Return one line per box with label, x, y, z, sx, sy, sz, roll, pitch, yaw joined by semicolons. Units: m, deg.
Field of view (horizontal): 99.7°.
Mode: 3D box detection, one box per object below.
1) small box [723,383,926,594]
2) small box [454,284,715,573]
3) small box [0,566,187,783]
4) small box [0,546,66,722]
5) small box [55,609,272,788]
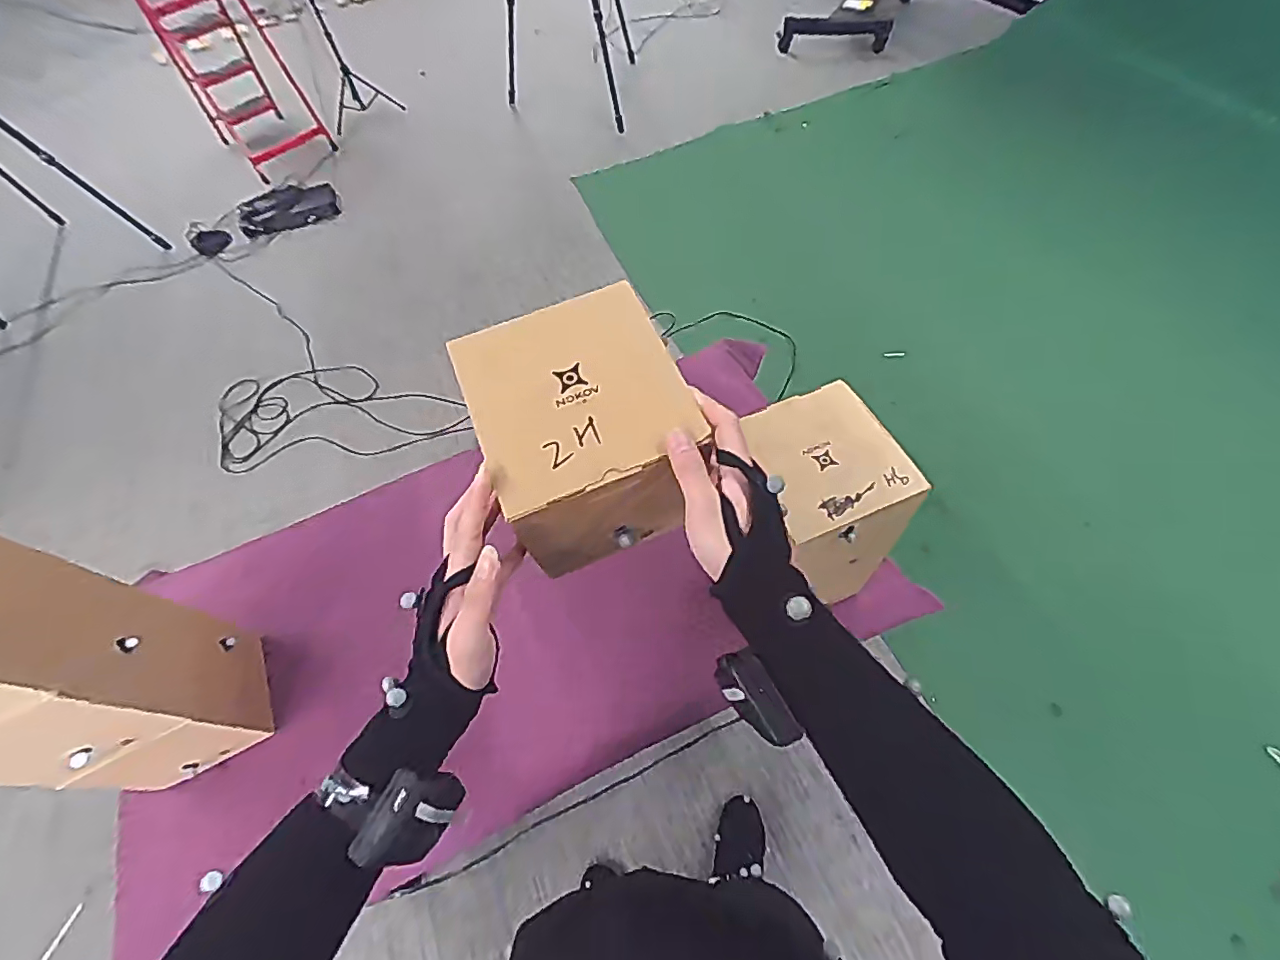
small box;0.212;0.015;0.683;0.168;0.176;0.179;-22;58;-6
small box;-0.047;-0.038;0.498;0.168;0.176;0.179;-22;66;-7
small box;-0.694;0.239;0.649;0.168;0.176;0.179;-27;61;-9
small box;-0.709;0.156;0.510;0.168;0.176;0.179;-28;60;-9
small box;-0.679;0.323;0.788;0.168;0.176;0.179;-27;61;-10
